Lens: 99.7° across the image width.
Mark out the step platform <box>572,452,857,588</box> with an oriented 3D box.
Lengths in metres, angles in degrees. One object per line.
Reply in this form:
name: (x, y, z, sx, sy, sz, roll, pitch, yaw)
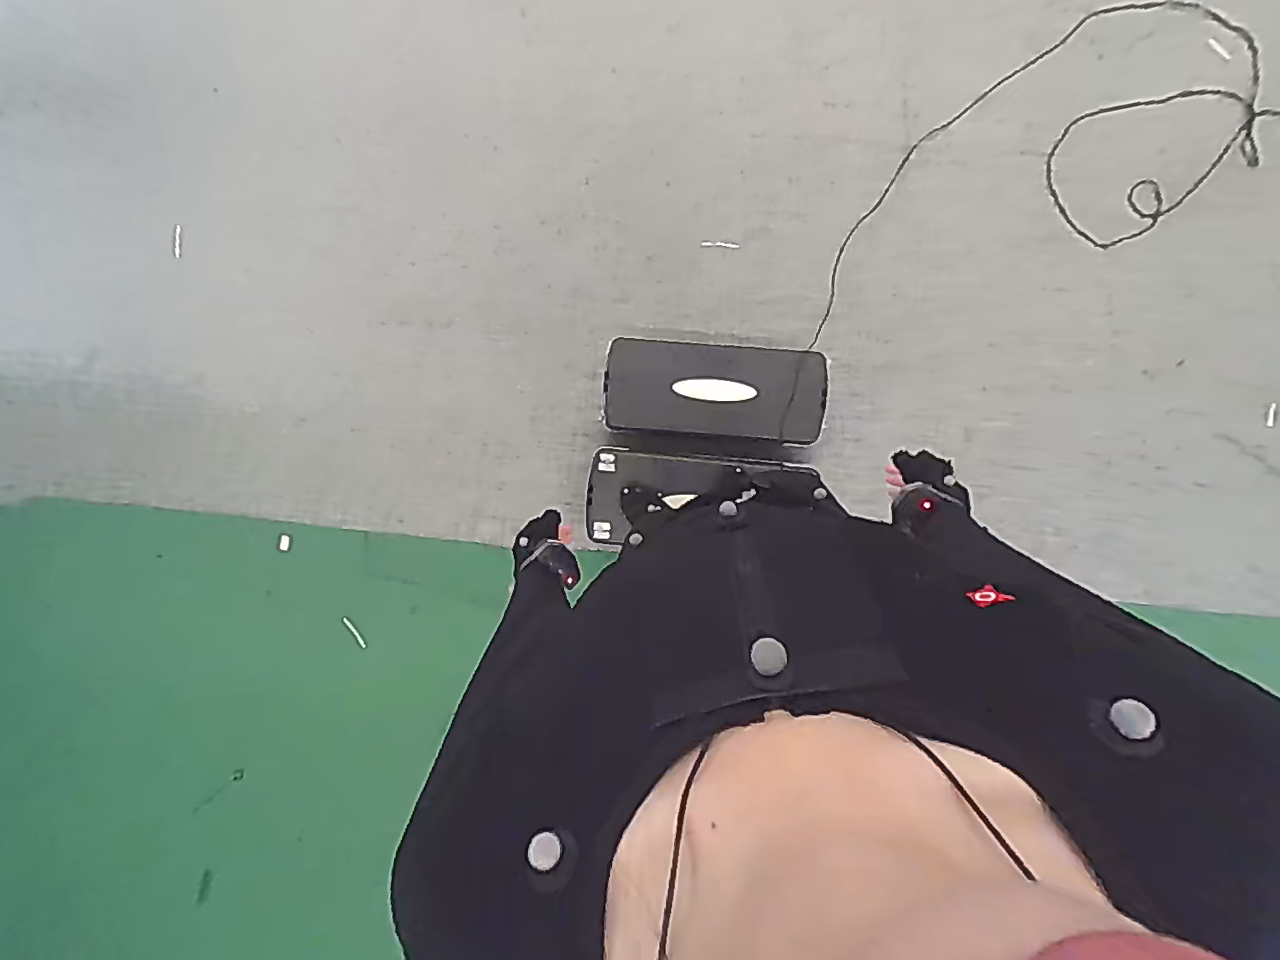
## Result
step platform: (0.179, 0.094, 1.394, 0.684, 0.204, 0.286, 5, 92, 1)
